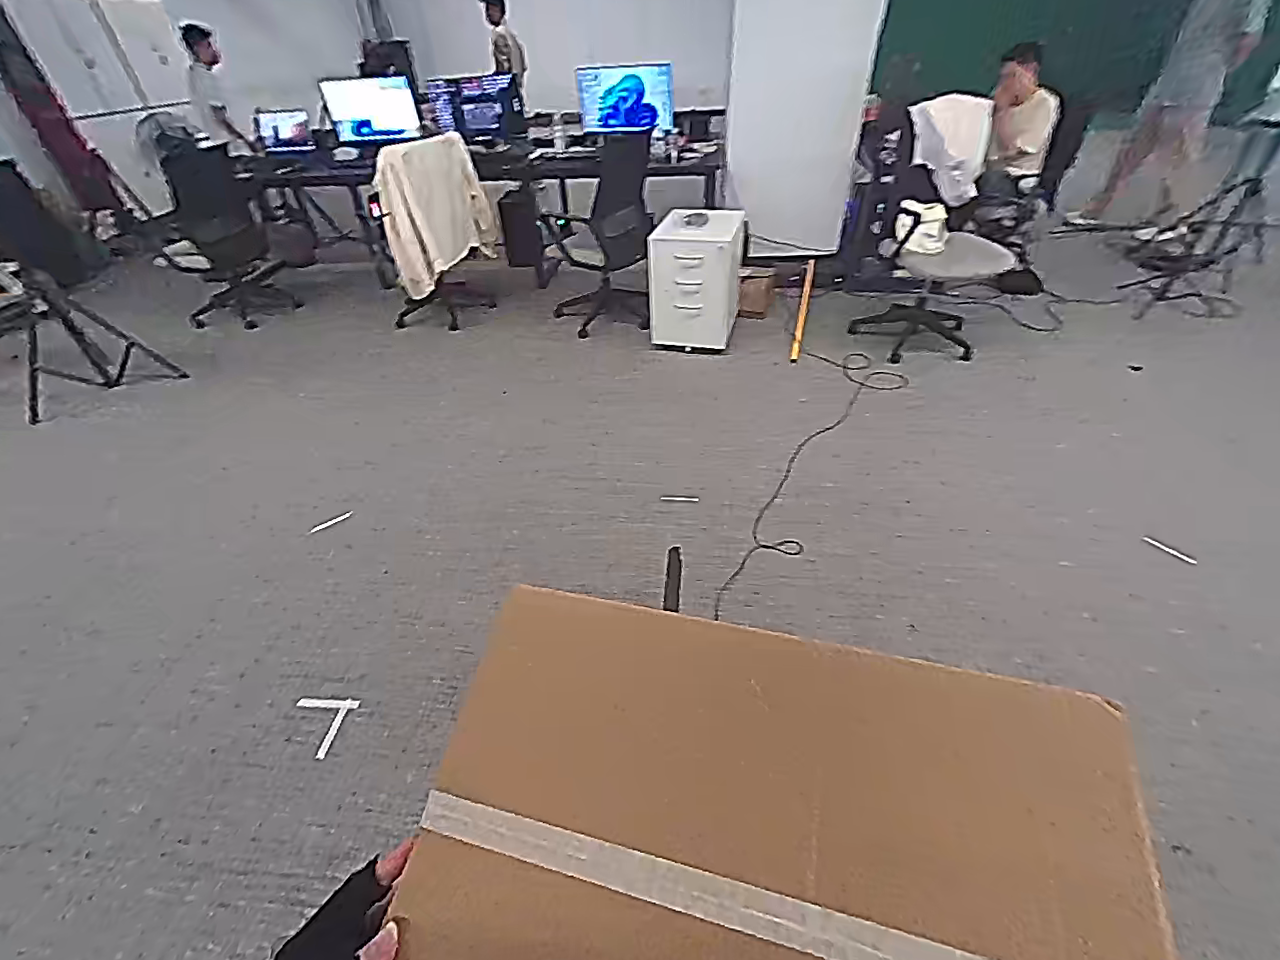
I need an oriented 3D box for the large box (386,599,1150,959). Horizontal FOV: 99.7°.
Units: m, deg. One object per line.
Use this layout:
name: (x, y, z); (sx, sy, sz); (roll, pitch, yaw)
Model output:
large box: (0.080, 0.323, 0.431); (0.408, 0.320, 0.320); (8, 59, 15)
